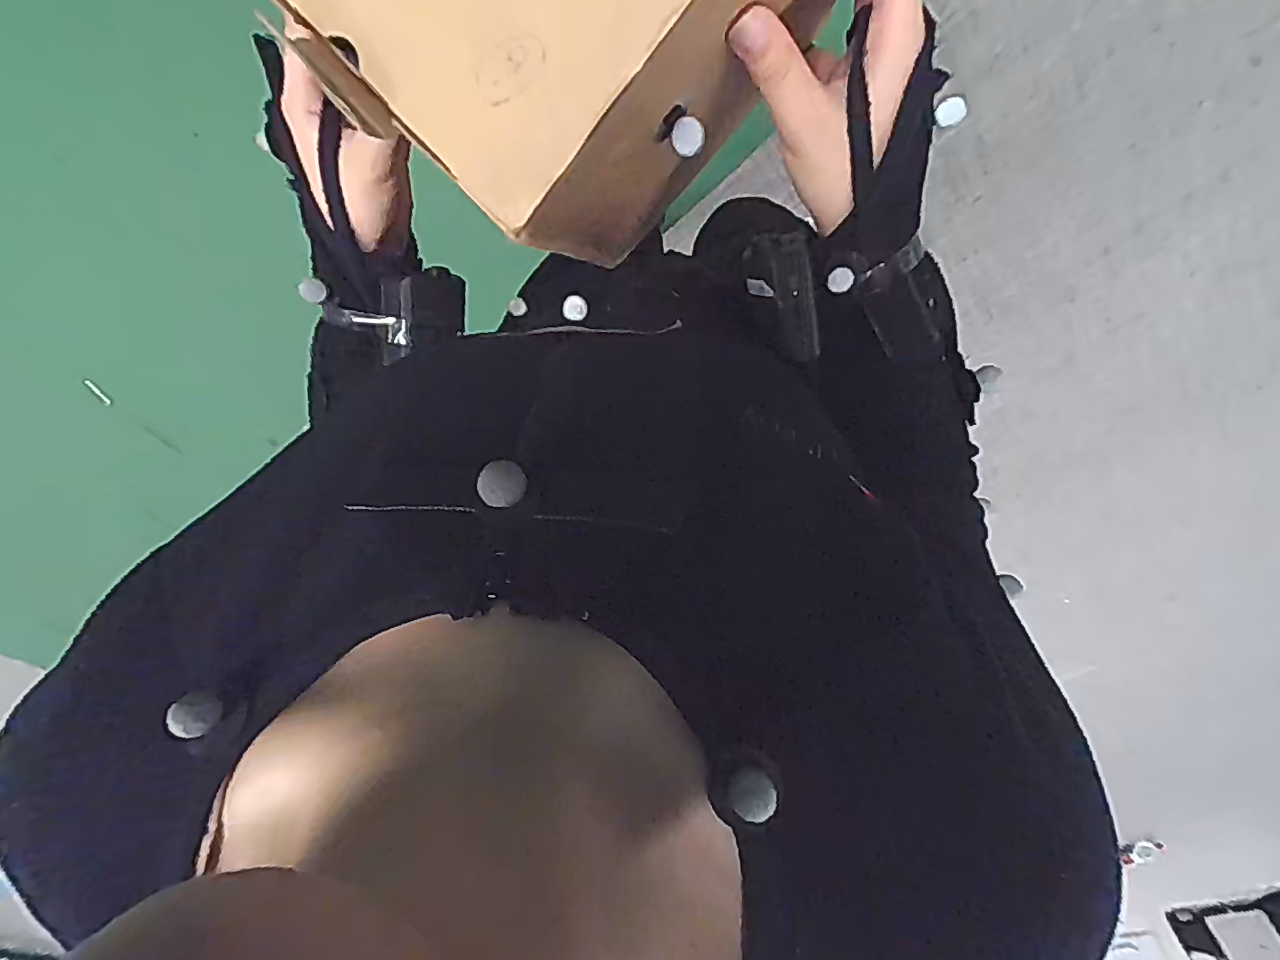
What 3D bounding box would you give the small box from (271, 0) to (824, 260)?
[{"bbox_3d":[-0.026,-0.221,0.242,0.168,0.176,0.179,44,111,-6],"label":"small box"}]
